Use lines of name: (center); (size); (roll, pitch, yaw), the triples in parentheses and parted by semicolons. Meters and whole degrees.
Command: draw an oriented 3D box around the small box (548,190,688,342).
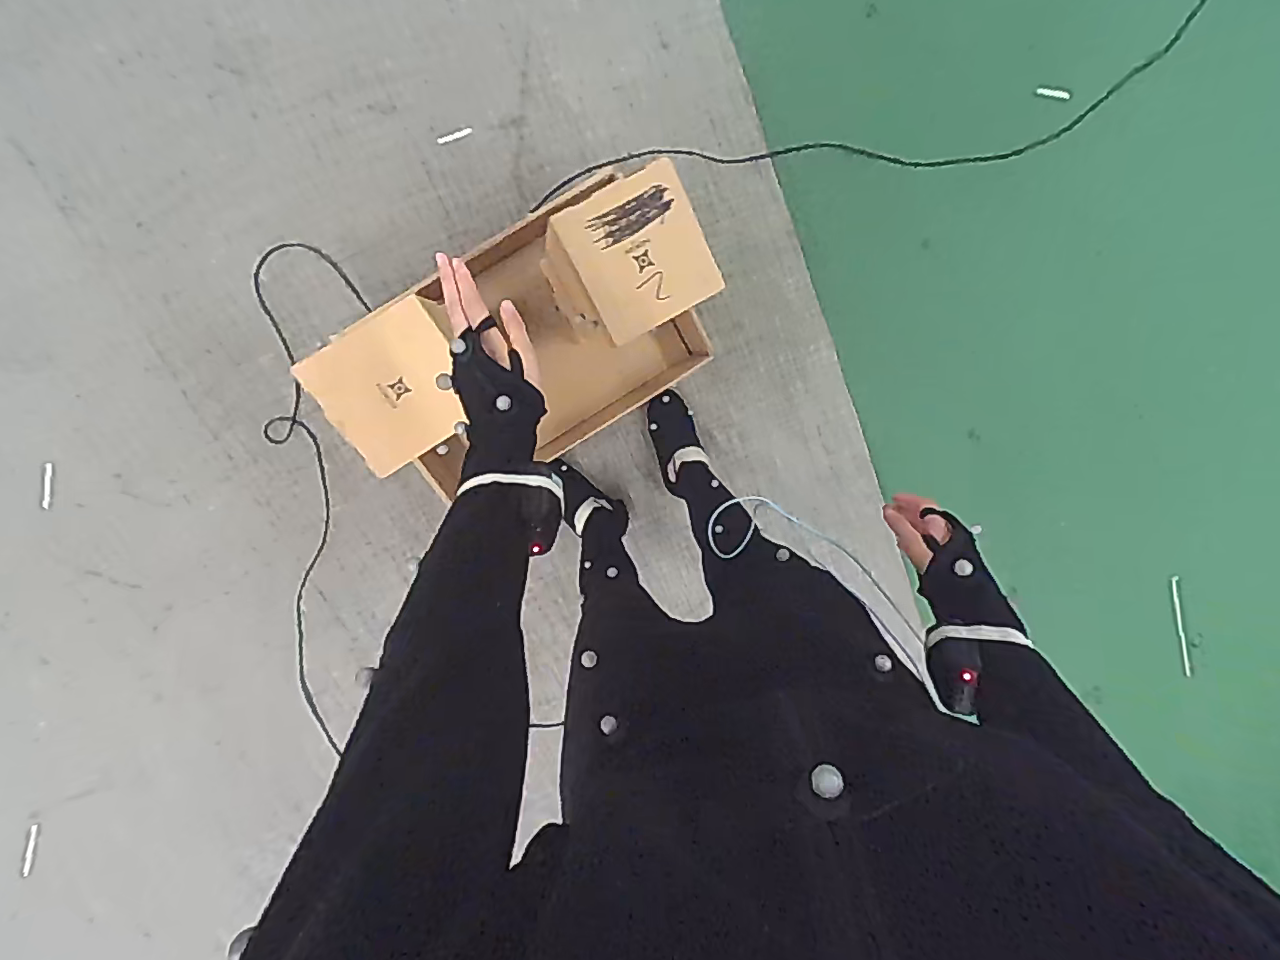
small box: (-0.043, -0.346, 0.907); (0.168, 0.176, 0.179); (-28, 106, -4)

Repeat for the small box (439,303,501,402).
small box: (-0.346, -0.173, 0.893); (0.179, 0.176, 0.168); (-28, 108, -4)

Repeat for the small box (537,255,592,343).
small box: (-0.086, -0.378, 1.064); (0.179, 0.176, 0.168); (-28, 107, -3)

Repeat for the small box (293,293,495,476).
small box: (-0.315, -0.135, 0.738); (0.179, 0.176, 0.168); (-32, 108, -1)
